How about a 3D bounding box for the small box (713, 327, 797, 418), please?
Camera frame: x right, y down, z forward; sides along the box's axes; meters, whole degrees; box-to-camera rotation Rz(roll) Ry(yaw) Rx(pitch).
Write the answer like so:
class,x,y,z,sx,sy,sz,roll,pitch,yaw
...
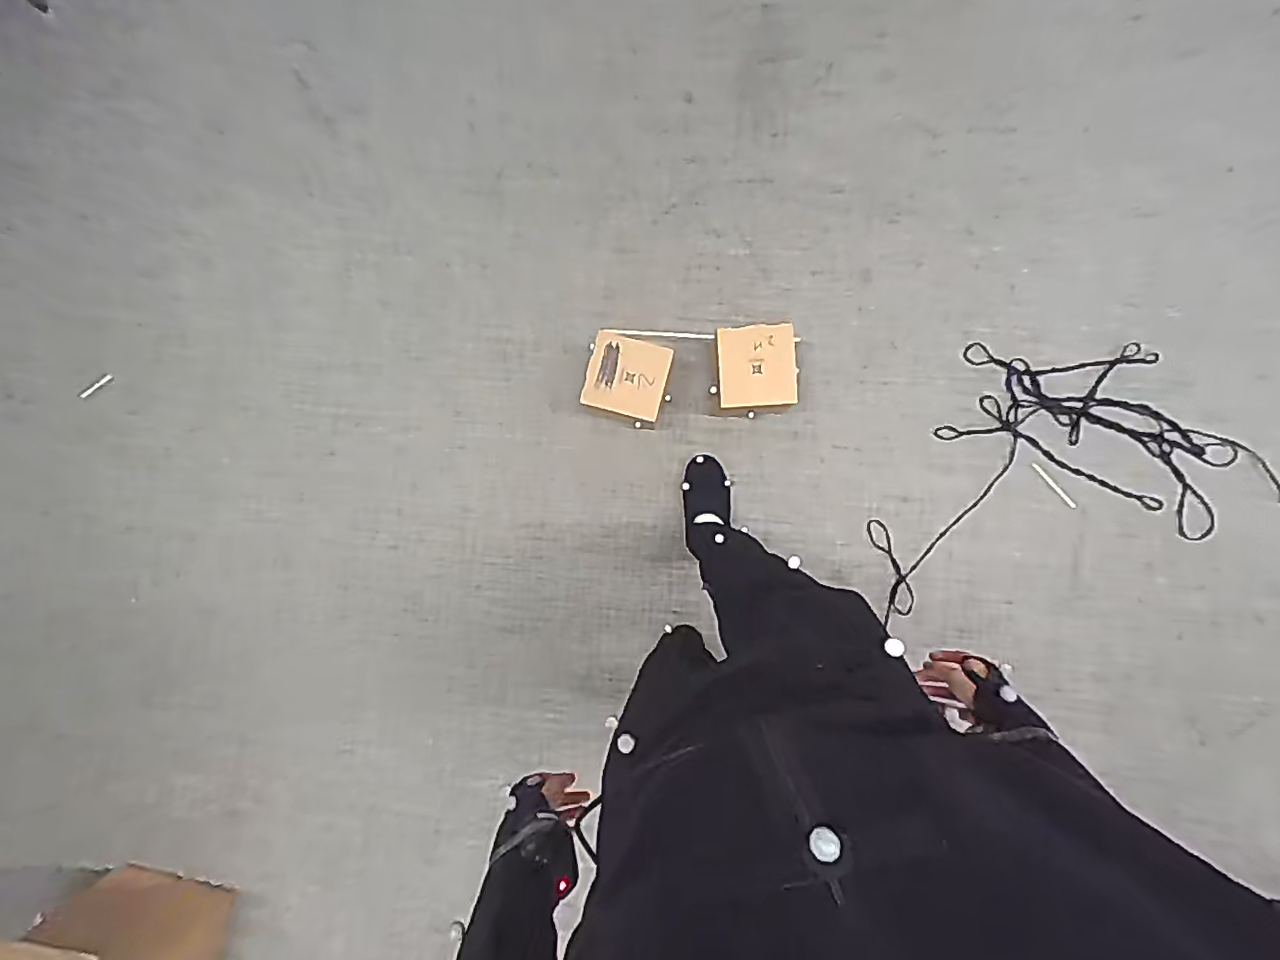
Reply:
class,x,y,z,sx,sy,sz,roll,pitch,yaw
small box,0.258,-0.238,1.240,0.168,0.176,0.179,-3,89,3
